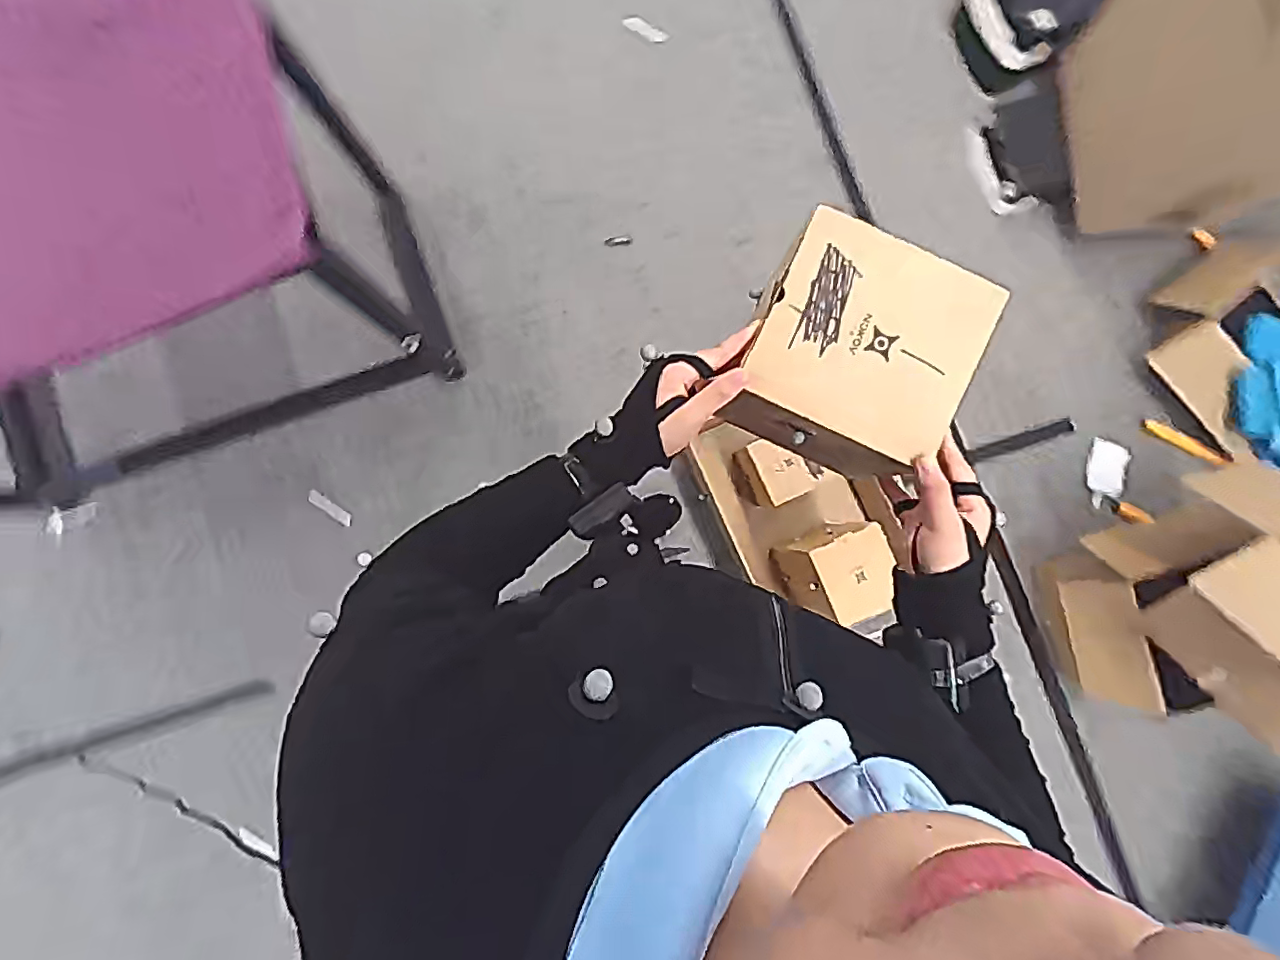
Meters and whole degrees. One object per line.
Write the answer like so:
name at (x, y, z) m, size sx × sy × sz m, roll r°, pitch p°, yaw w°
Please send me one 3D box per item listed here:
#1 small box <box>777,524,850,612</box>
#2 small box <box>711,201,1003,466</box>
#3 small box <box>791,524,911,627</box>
small box at (0.465, 0.220, 1.377) m, size 0.179 × 0.176 × 0.168 m, roll -22°, pitch 87°, yaw -3°
small box at (0.183, -0.118, 0.516) m, size 0.179 × 0.176 × 0.168 m, roll 24°, pitch 89°, yaw -1°
small box at (0.464, 0.206, 1.215) m, size 0.168 × 0.176 × 0.179 m, roll -22°, pitch 86°, yaw -2°
